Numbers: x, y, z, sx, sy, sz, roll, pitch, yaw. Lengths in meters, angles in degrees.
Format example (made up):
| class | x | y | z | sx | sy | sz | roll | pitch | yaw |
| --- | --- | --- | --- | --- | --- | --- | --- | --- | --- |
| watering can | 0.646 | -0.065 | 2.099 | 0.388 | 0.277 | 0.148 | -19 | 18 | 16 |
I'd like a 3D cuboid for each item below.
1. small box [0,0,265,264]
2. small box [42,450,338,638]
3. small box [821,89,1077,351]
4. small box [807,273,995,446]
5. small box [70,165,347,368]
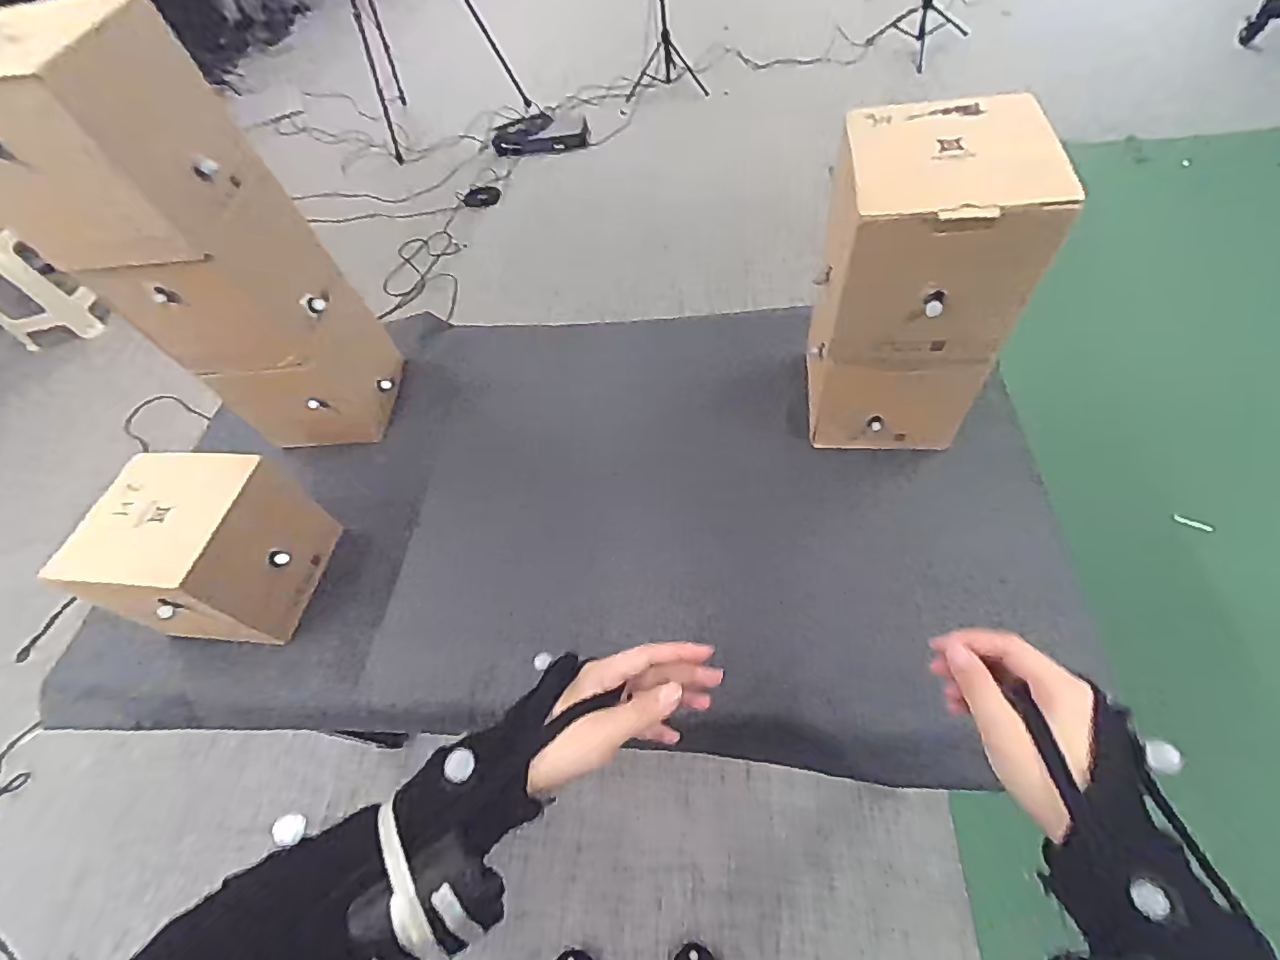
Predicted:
| class | x | y | z | sx | sy | sz | roll | pitch | yaw |
| --- | --- | --- | --- | --- | --- | --- | --- | --- | --- |
| small box | -0.529 | -0.333 | 0.530 | 0.179 | 0.176 | 0.168 | -1 | 59 | 7 |
| small box | -0.508 | 0.081 | 0.647 | 0.179 | 0.176 | 0.168 | 1 | 55 | 10 |
| small box | 0.278 | -0.244 | 0.537 | 0.168 | 0.176 | 0.179 | 2 | 60 | 11 |
| small box | 0.305 | -0.163 | 0.677 | 0.168 | 0.176 | 0.179 | 1 | 59 | 11 |
| small box | -0.511 | -0.255 | 0.673 | 0.179 | 0.176 | 0.168 | -3 | 59 | 6 |
